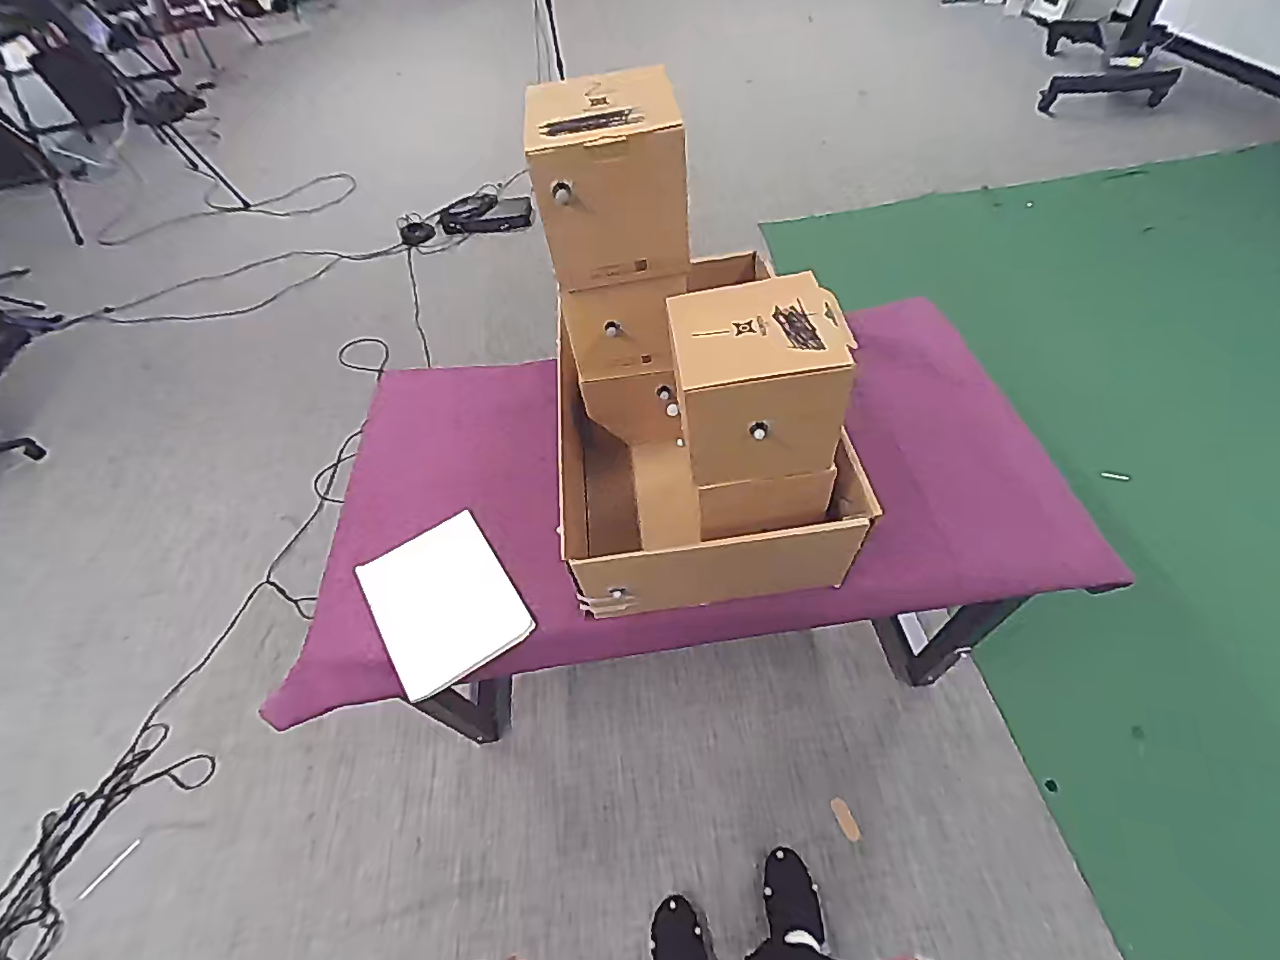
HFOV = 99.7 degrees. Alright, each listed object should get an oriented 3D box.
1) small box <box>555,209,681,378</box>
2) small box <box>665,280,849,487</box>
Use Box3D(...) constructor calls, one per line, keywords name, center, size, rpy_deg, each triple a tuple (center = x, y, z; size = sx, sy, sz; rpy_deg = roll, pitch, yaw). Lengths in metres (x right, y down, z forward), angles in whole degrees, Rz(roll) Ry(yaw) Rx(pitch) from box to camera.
Box3D(name="small box", center=(-0.025, -0.267, 0.802), size=(0.168, 0.176, 0.179), rpy_deg=(-7, 54, 2))
Box3D(name="small box", center=(0.129, -0.111, 0.654), size=(0.179, 0.176, 0.168), rpy_deg=(-8, 51, 4))
